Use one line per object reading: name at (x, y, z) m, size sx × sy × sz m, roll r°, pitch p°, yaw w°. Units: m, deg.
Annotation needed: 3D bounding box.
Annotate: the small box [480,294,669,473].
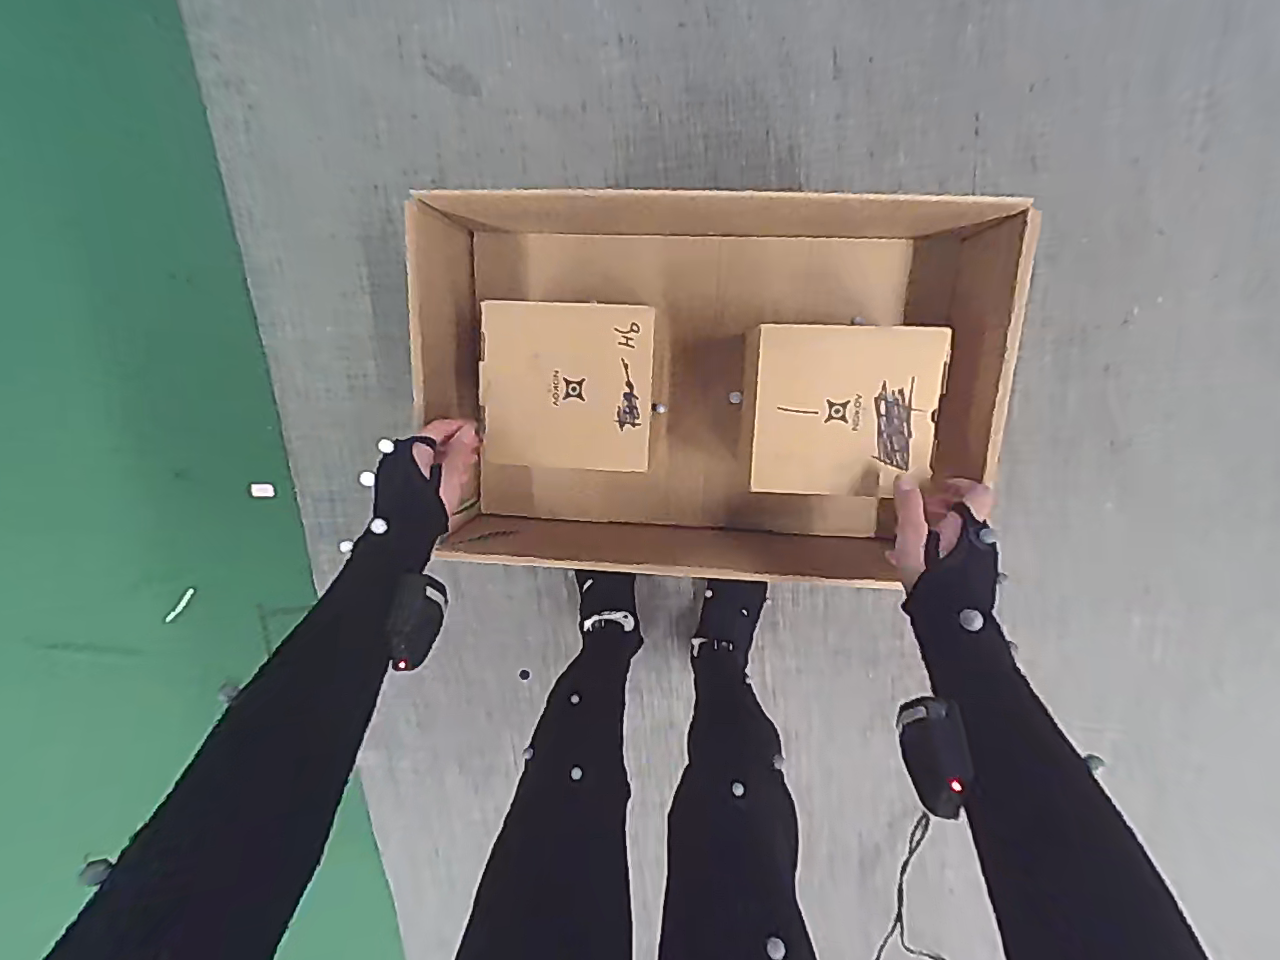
small box at (-0.065, -0.109, 0.612) m, size 0.179 × 0.176 × 0.168 m, roll 5°, pitch 102°, yaw 5°
